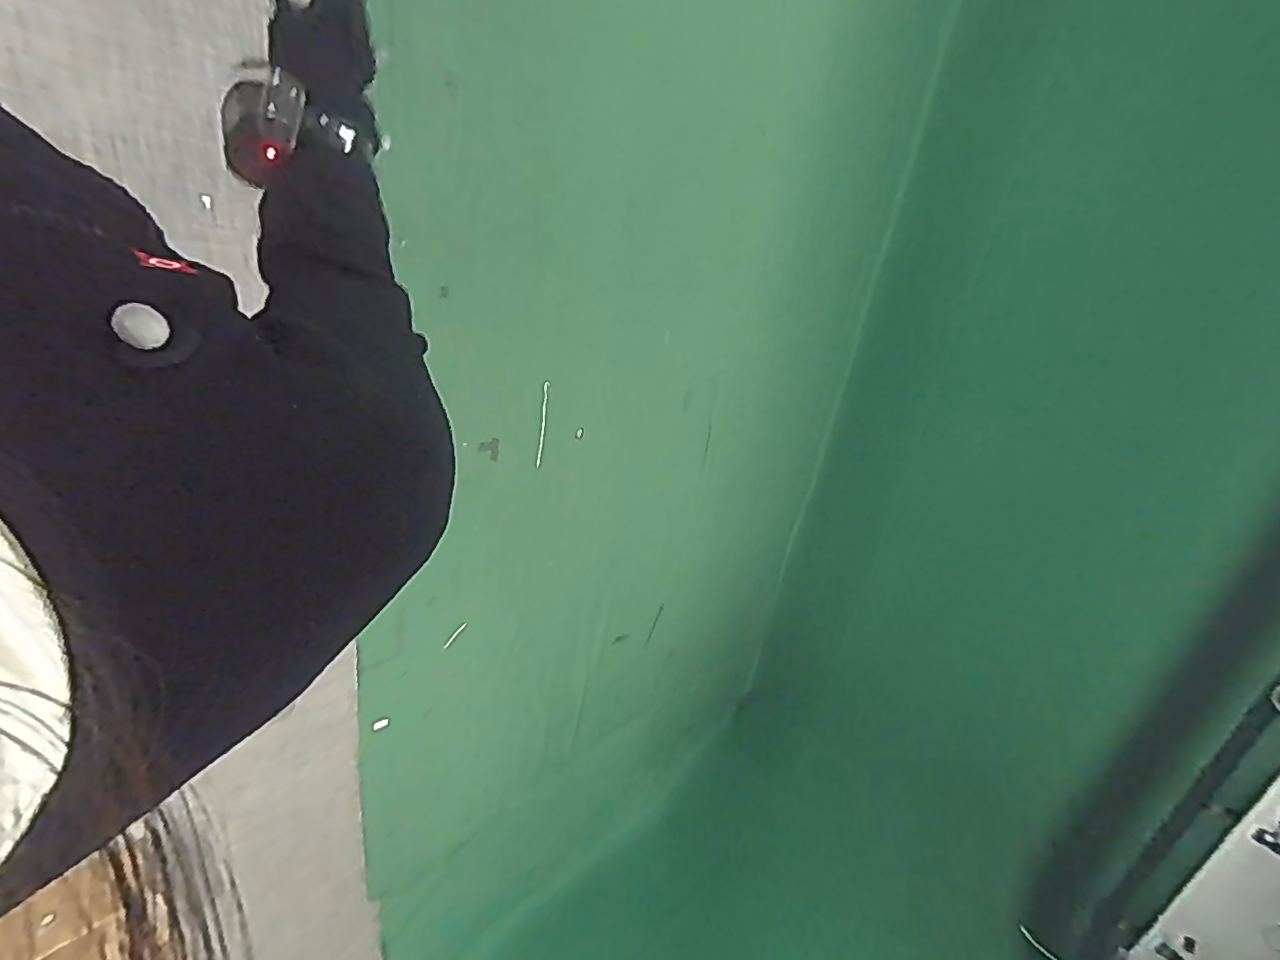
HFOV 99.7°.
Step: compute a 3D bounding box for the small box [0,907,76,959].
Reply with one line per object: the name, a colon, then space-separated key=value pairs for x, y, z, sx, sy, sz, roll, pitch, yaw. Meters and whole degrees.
small box: x=-1.446 y=1.161 z=1.251 sx=0.179 sy=0.176 sz=0.168 roll=-18 pitch=126 yaw=-45
